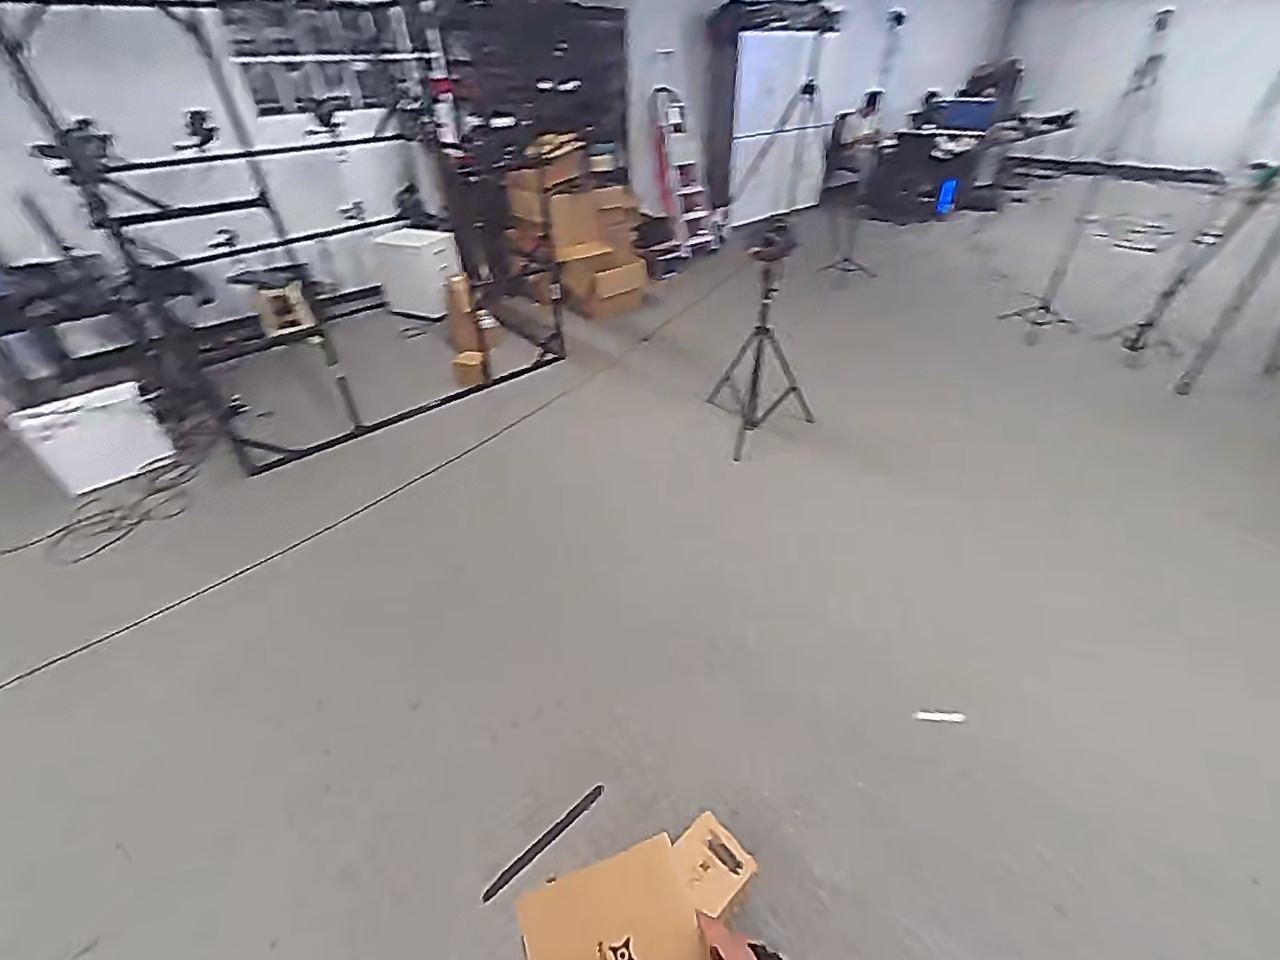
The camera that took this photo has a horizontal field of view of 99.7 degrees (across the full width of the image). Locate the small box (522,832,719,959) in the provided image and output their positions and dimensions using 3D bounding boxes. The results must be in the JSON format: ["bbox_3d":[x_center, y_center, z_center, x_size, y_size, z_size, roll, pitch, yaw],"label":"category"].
[{"bbox_3d":[-0.019,0.524,0.597,0.179,0.176,0.168,-15,50,-15],"label":"small box"}]
